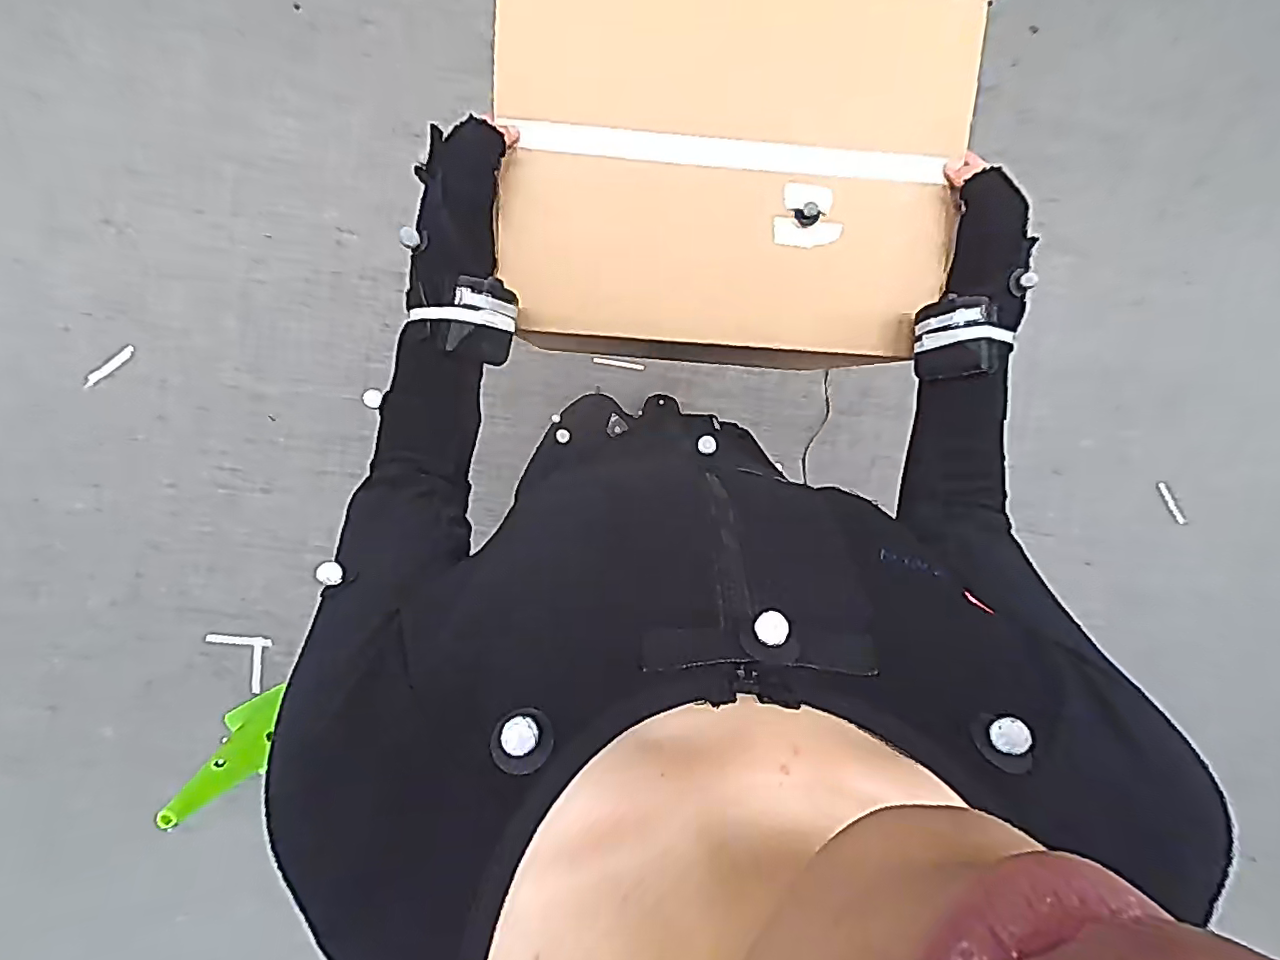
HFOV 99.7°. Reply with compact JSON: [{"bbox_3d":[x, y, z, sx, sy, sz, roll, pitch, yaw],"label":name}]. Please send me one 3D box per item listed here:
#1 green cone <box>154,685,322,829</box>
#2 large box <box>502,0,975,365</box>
[{"bbox_3d":[-1.001,0.698,1.316,0.202,0.368,0.200,-30,94,2],"label":"green cone"},{"bbox_3d":[0.071,-0.305,0.614,0.408,0.320,0.320,3,99,-4],"label":"large box"}]
